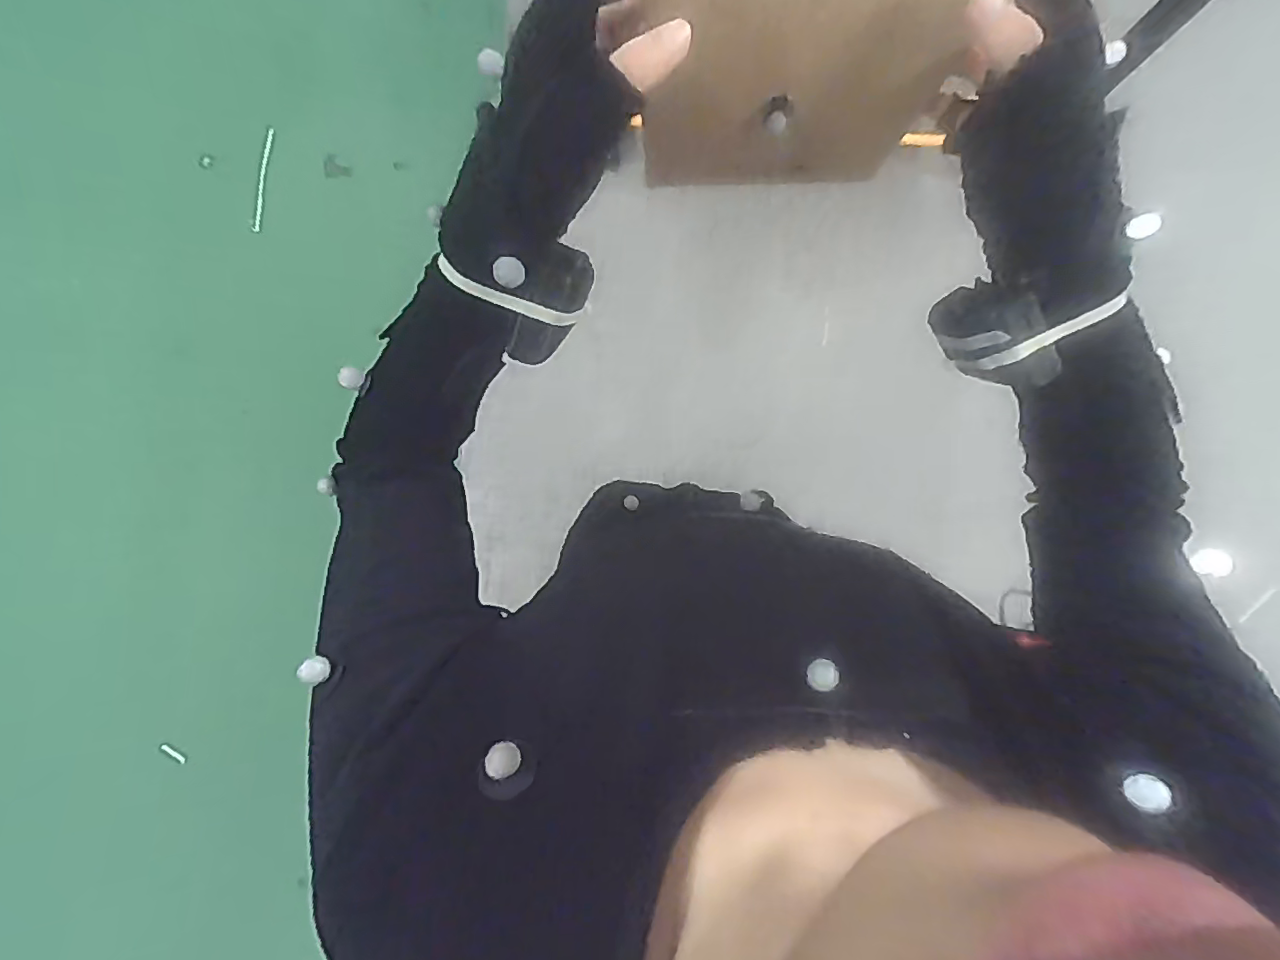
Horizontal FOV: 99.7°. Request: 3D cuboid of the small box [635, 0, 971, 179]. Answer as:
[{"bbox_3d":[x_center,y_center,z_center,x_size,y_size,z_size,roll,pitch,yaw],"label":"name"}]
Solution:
[{"bbox_3d":[0.081,-0.301,0.315,0.168,0.176,0.179,-1,87,1],"label":"small box"}]
